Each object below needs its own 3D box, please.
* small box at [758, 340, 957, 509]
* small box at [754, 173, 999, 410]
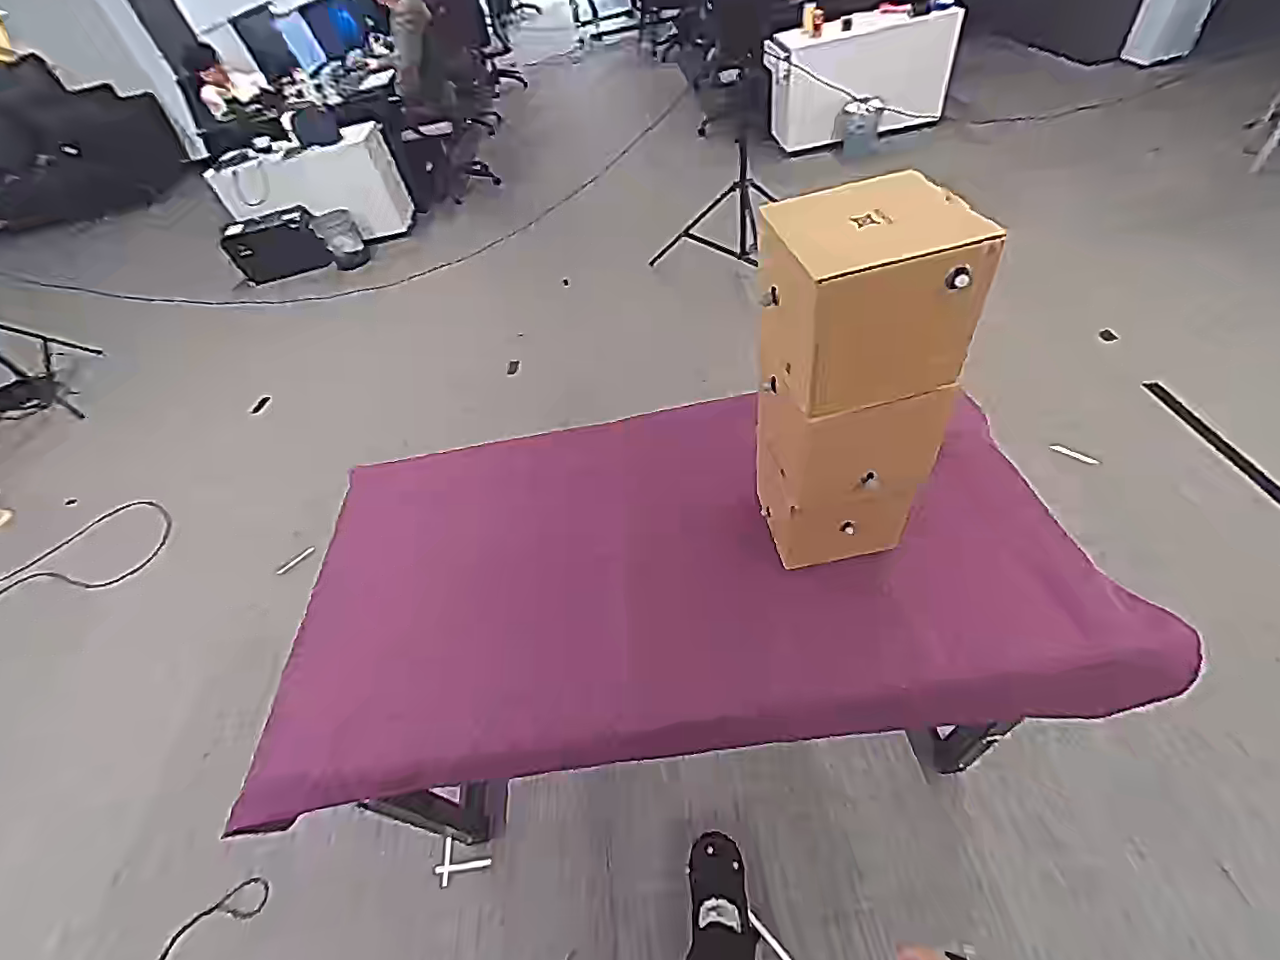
[{"bbox_3d":[0.261,-0.087,0.701,0.179,0.176,0.168,-14,48,-1],"label":"small box"},{"bbox_3d":[0.234,-0.198,0.585,0.179,0.176,0.168,-14,48,0],"label":"small box"}]
